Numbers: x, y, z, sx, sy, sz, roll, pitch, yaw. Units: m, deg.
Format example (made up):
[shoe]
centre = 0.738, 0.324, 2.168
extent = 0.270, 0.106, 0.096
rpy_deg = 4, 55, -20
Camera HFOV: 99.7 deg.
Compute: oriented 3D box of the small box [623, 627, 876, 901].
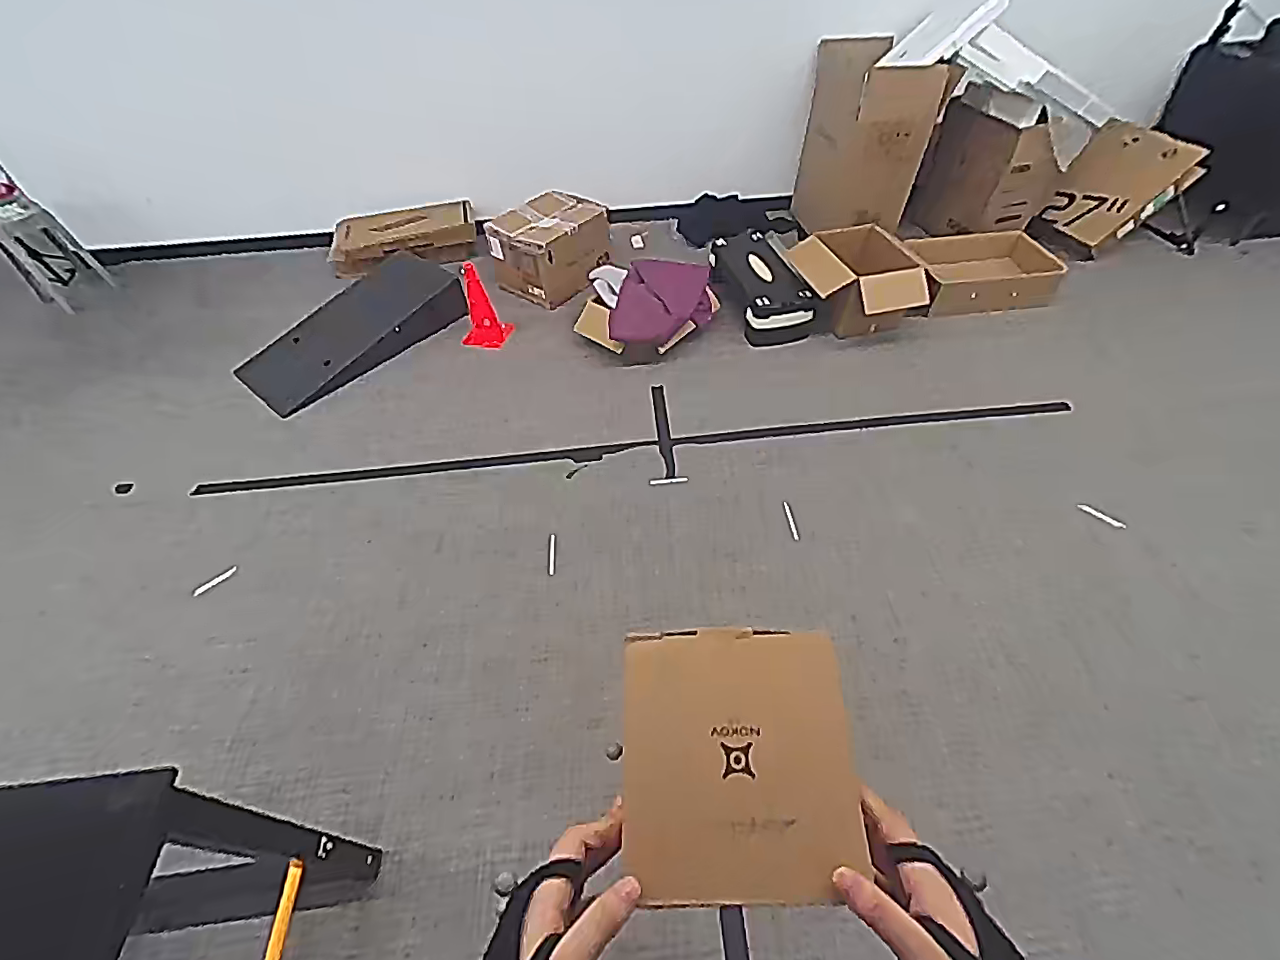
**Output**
[small box]
centre = 0.070, 0.234, 0.456
extent = 0.168, 0.176, 0.179
rpy_deg = -1, 60, 0
